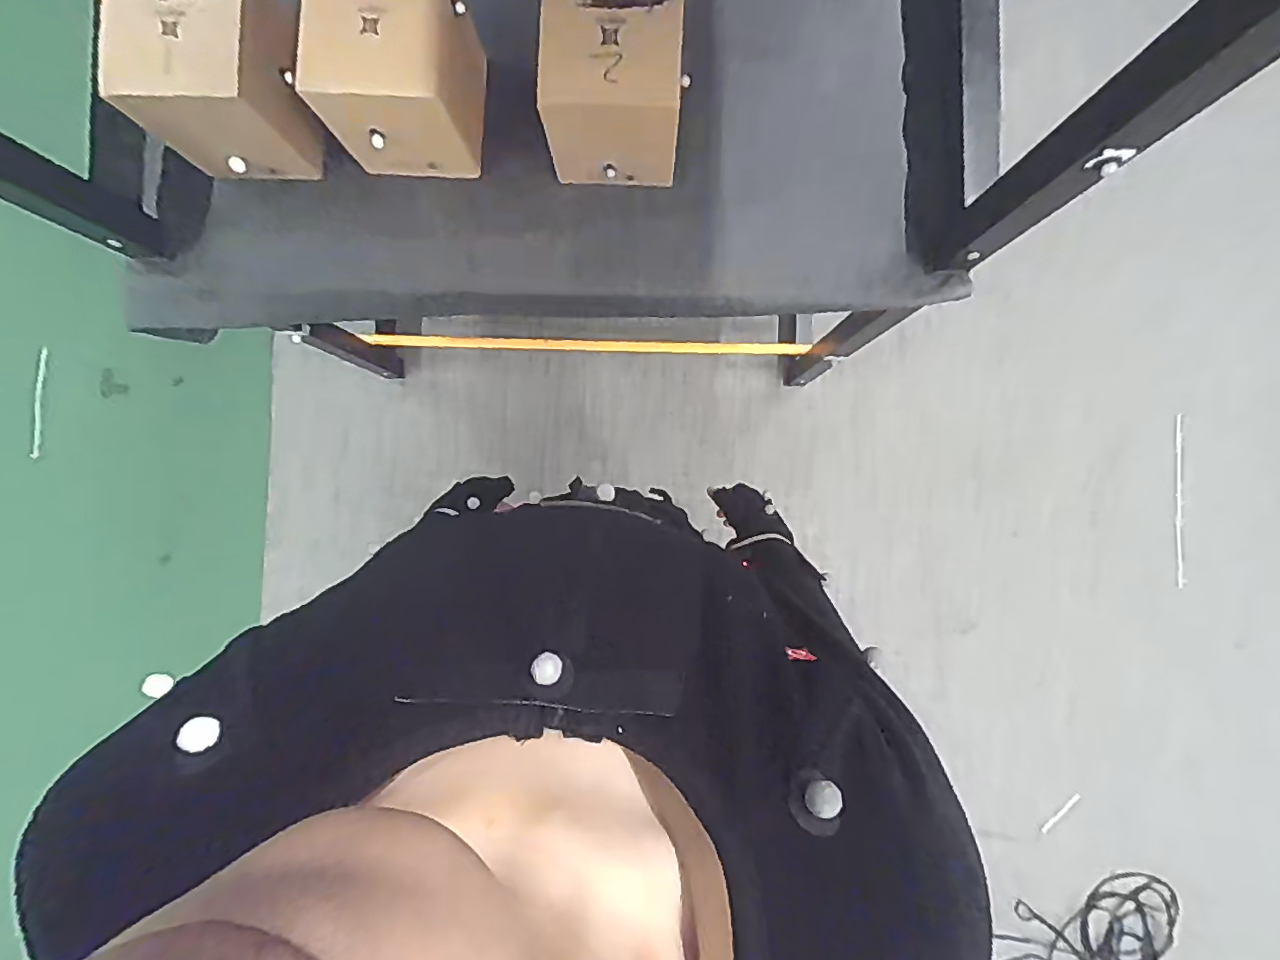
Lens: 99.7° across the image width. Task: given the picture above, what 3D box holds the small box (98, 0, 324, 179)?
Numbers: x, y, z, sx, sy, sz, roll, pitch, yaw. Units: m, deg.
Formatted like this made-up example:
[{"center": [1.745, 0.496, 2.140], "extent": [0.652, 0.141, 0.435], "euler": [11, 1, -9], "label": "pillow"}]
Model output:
[{"center": [-0.539, -0.529, 0.705], "extent": [0.168, 0.176, 0.179], "euler": [1, 89, 0], "label": "small box"}]

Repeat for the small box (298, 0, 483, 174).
[{"center": [-0.311, -0.532, 0.707], "extent": [0.168, 0.176, 0.179], "euler": [2, 88, 0], "label": "small box"}]
